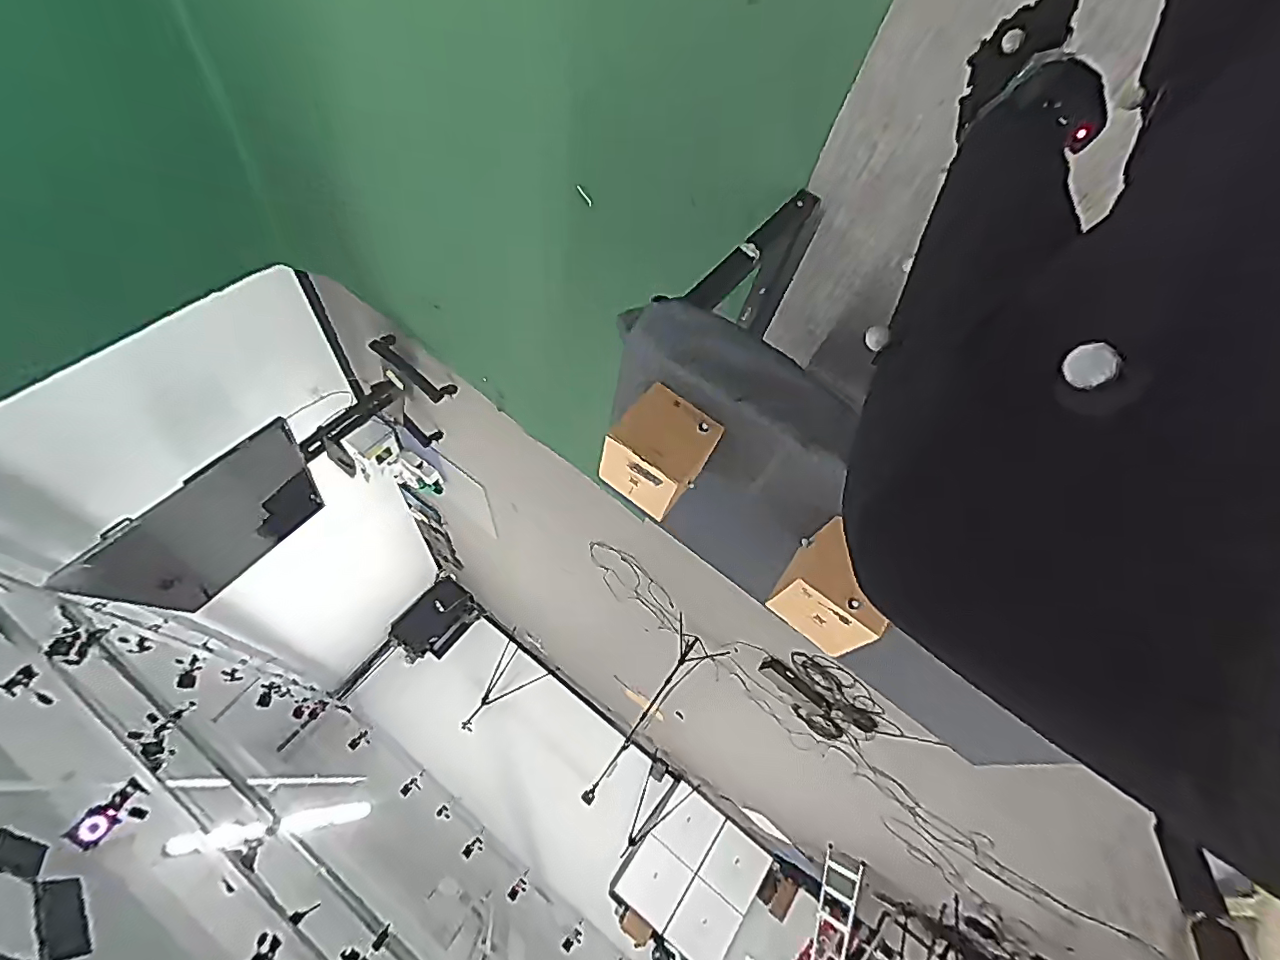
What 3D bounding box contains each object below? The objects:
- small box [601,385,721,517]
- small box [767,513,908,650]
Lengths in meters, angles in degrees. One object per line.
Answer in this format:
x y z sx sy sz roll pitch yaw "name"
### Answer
0.042 -0.060 1.100 0.168 0.176 0.179 36 153 9 "small box"
0.380 0.196 1.042 0.168 0.176 0.179 36 153 10 "small box"
